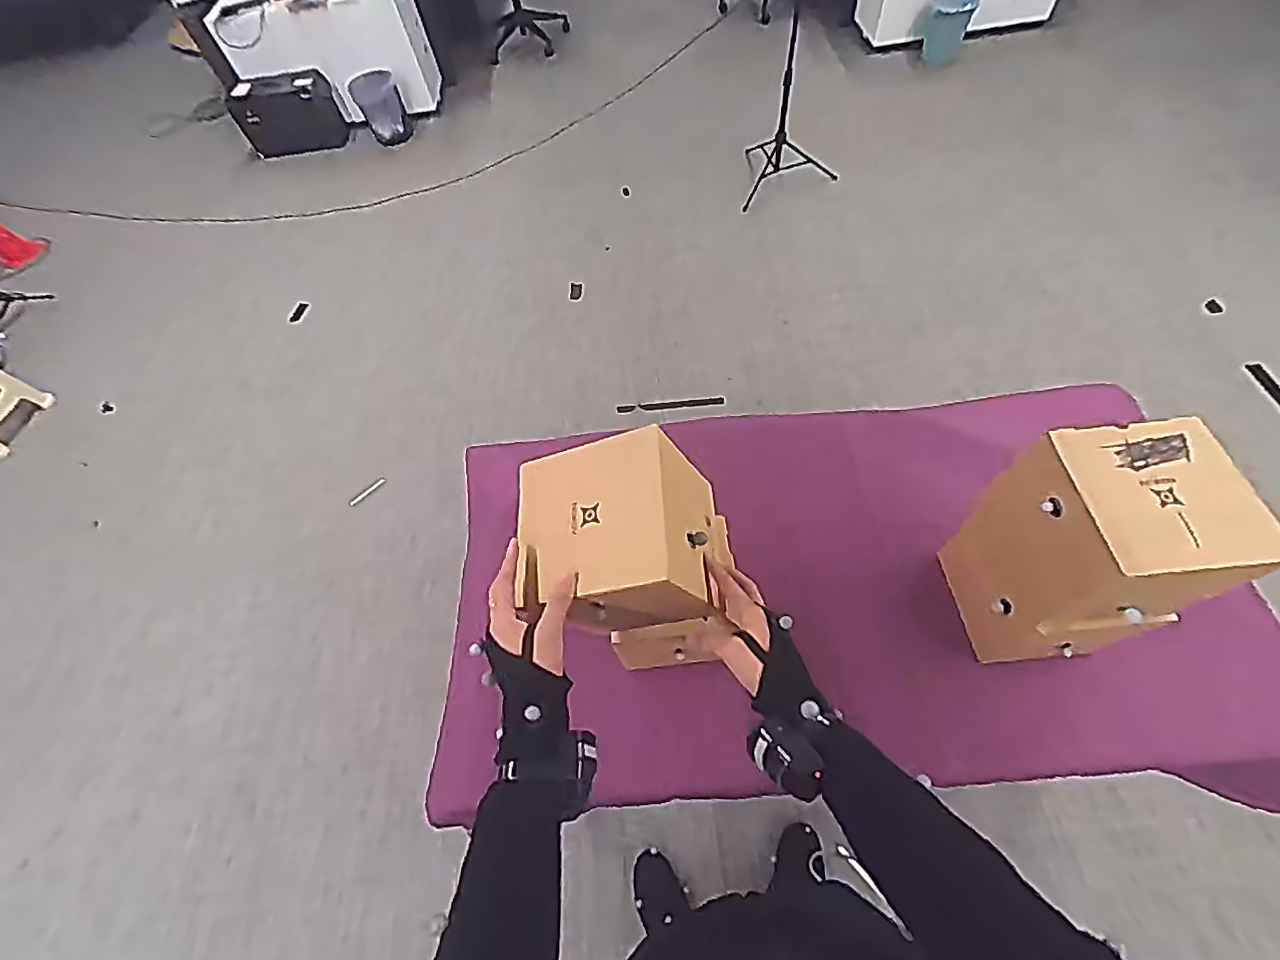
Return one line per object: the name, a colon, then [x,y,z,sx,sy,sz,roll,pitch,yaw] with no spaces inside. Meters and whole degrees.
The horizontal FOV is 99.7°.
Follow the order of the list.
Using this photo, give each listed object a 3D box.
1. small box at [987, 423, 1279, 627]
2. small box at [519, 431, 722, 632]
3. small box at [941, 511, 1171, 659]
small box: [0.548,0.058,0.630,0.168,0.176,0.179,-6,59,3]
small box: [-0.014,0.071,0.615,0.179,0.176,0.168,-15,61,22]
small box: [0.563,0.149,0.766,0.168,0.176,0.179,-6,59,3]
